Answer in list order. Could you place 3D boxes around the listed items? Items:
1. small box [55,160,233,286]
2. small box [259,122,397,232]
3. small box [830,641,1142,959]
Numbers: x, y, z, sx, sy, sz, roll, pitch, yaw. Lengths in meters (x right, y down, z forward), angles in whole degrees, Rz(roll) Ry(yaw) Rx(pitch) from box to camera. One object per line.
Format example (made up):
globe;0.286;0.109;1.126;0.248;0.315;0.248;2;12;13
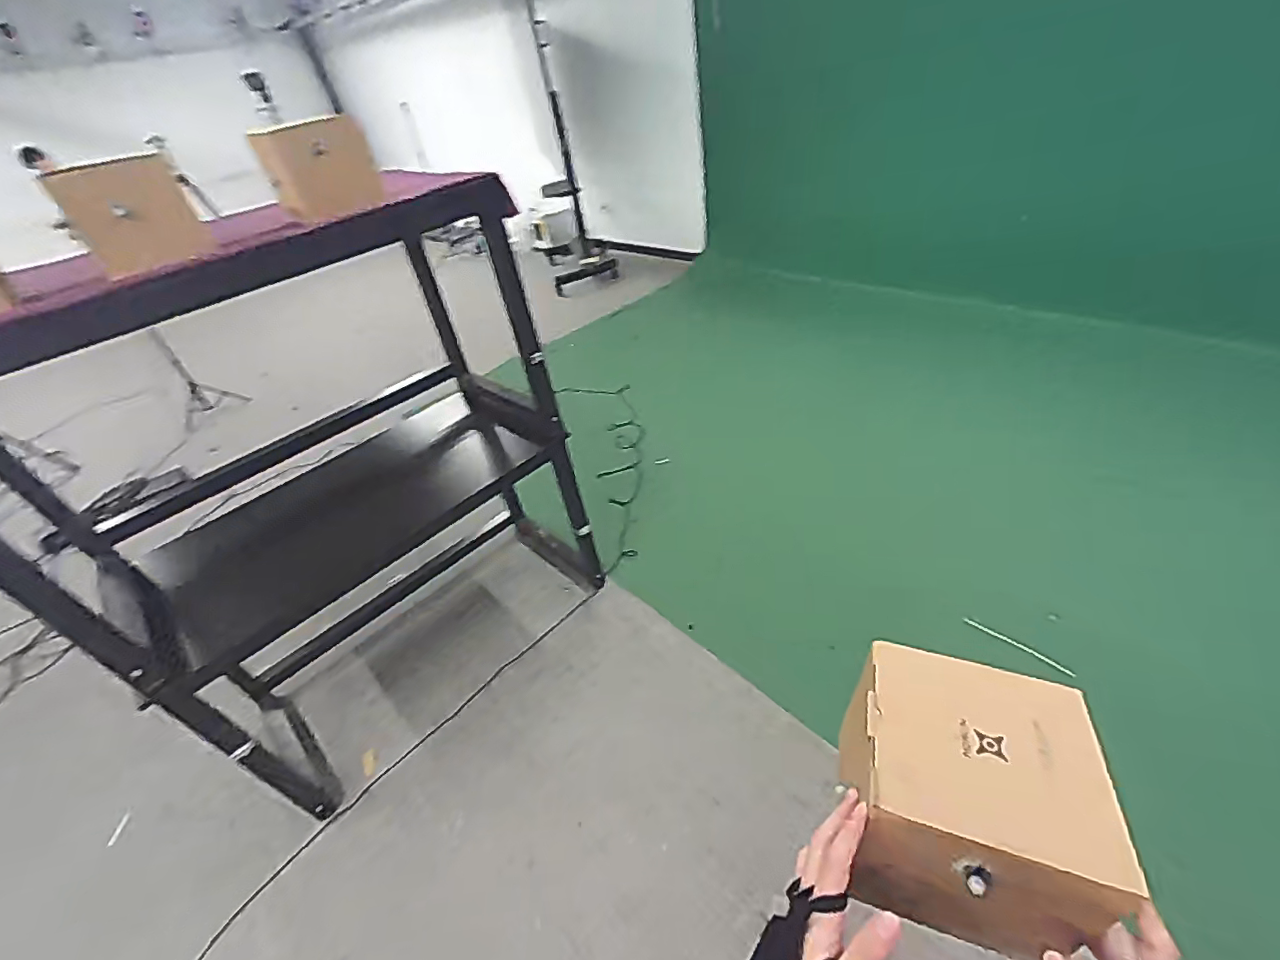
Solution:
small box;-0.906;-0.474;1.000;0.179;0.176;0.168;-34;43;-26
small box;-0.658;-0.644;1.152;0.179;0.176;0.168;-37;45;-28
small box;0.274;0.279;0.480;0.179;0.176;0.168;11;36;17
